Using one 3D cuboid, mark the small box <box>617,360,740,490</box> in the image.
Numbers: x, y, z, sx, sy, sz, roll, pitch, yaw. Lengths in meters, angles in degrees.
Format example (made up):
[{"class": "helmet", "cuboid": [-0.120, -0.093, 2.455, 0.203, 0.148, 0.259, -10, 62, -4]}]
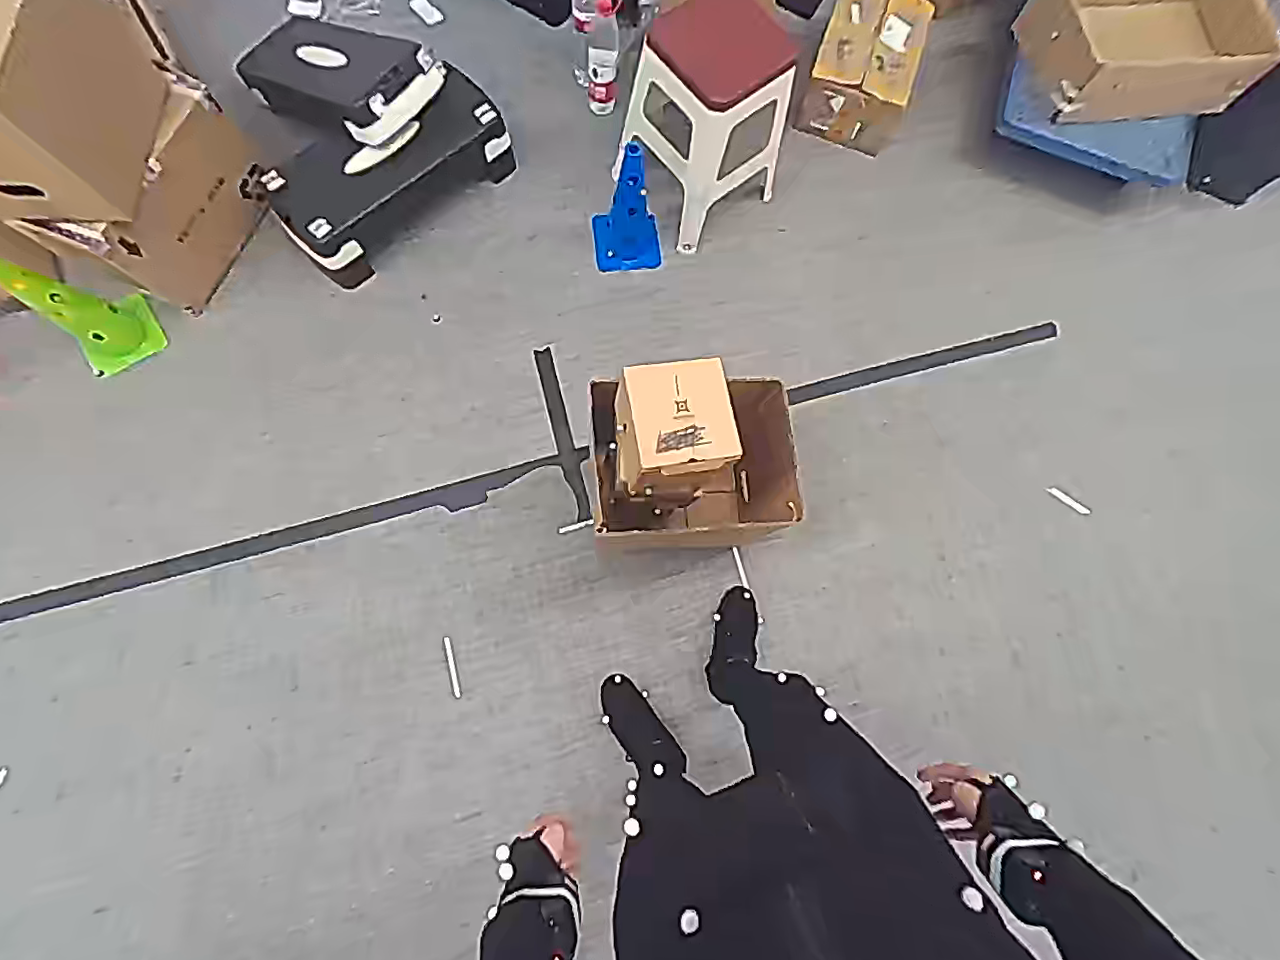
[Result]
[{"class": "small box", "cuboid": [0.057, -0.085, 0.930, 0.168, 0.176, 0.179, -8, 78, -9]}]
